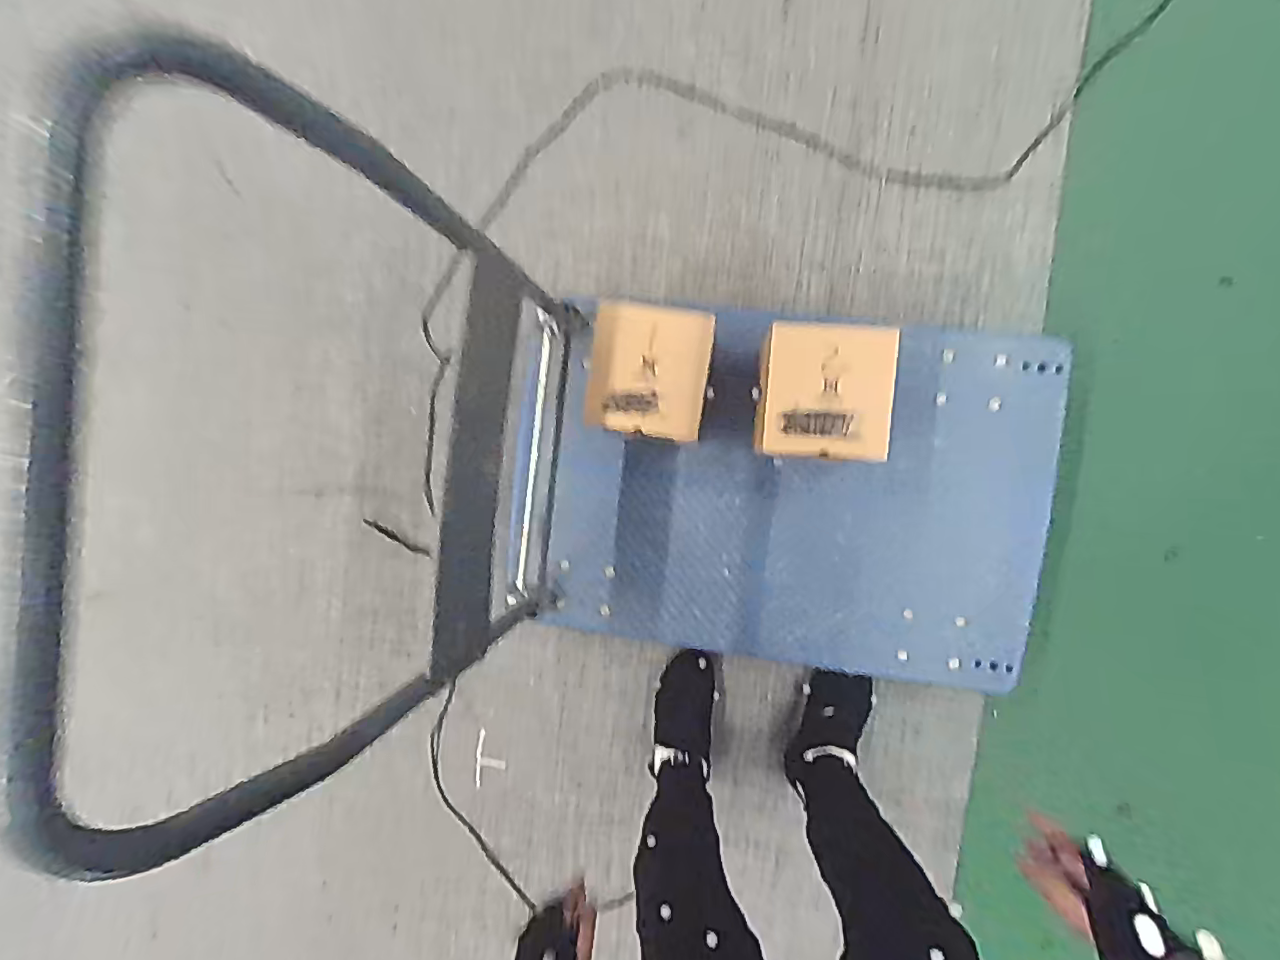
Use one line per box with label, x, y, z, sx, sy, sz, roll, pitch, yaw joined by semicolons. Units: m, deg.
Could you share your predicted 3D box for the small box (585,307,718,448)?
small box;0.024;-0.146;0.830;0.168;0.176;0.179;10;93;6
